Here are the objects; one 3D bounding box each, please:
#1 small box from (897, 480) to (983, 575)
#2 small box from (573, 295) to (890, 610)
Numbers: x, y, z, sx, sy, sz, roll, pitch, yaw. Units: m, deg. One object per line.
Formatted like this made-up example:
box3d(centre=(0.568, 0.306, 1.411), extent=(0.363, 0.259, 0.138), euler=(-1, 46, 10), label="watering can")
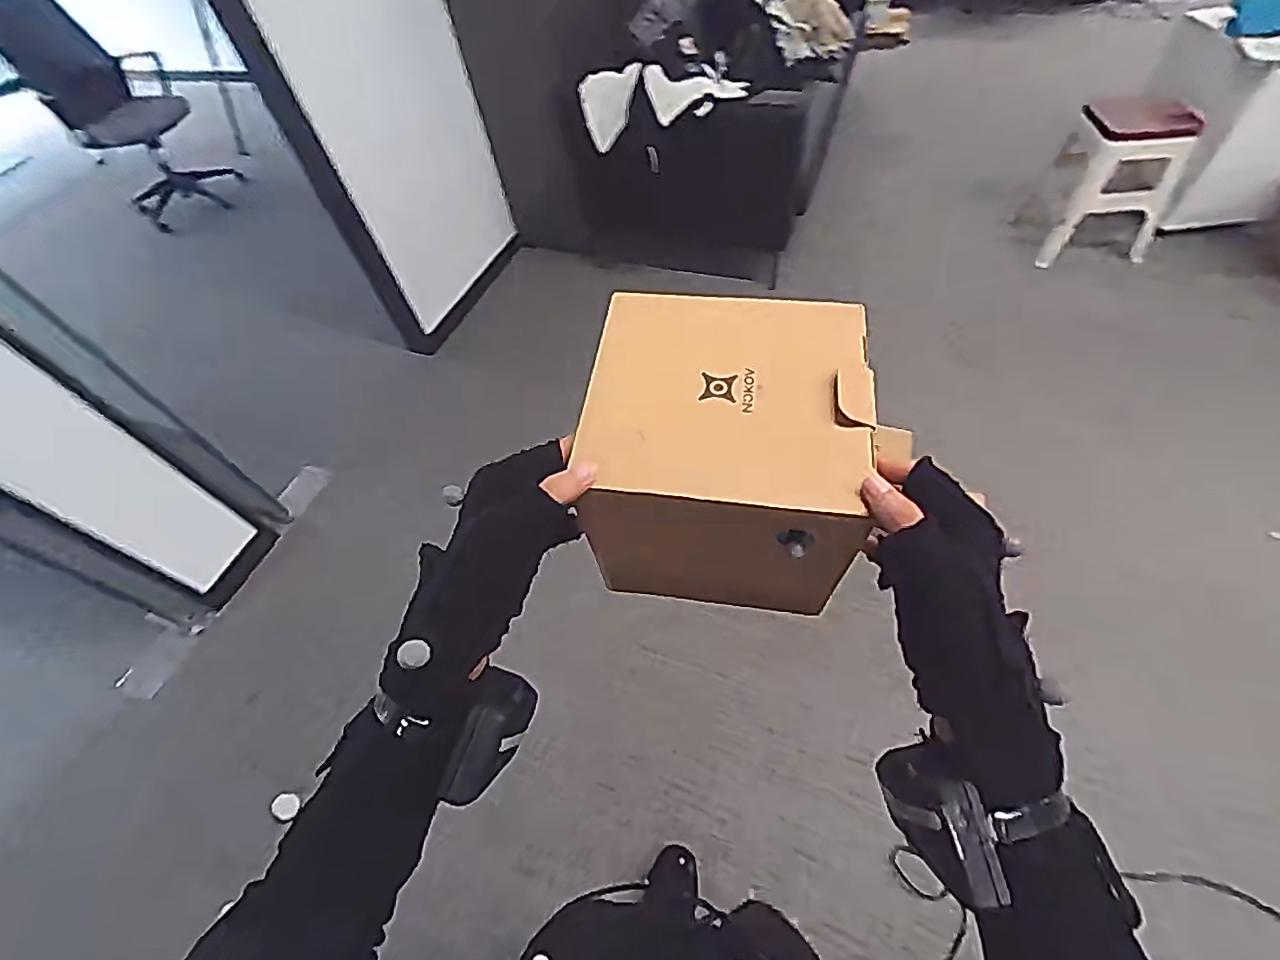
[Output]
box3d(centre=(0.813, 0.131, 1.477), extent=(0.168, 0.176, 0.179), euler=(12, 57, 16), label="small box")
box3d(centre=(0.065, -0.013, 0.402), extent=(0.179, 0.176, 0.168), euler=(6, 59, 8), label="small box")
